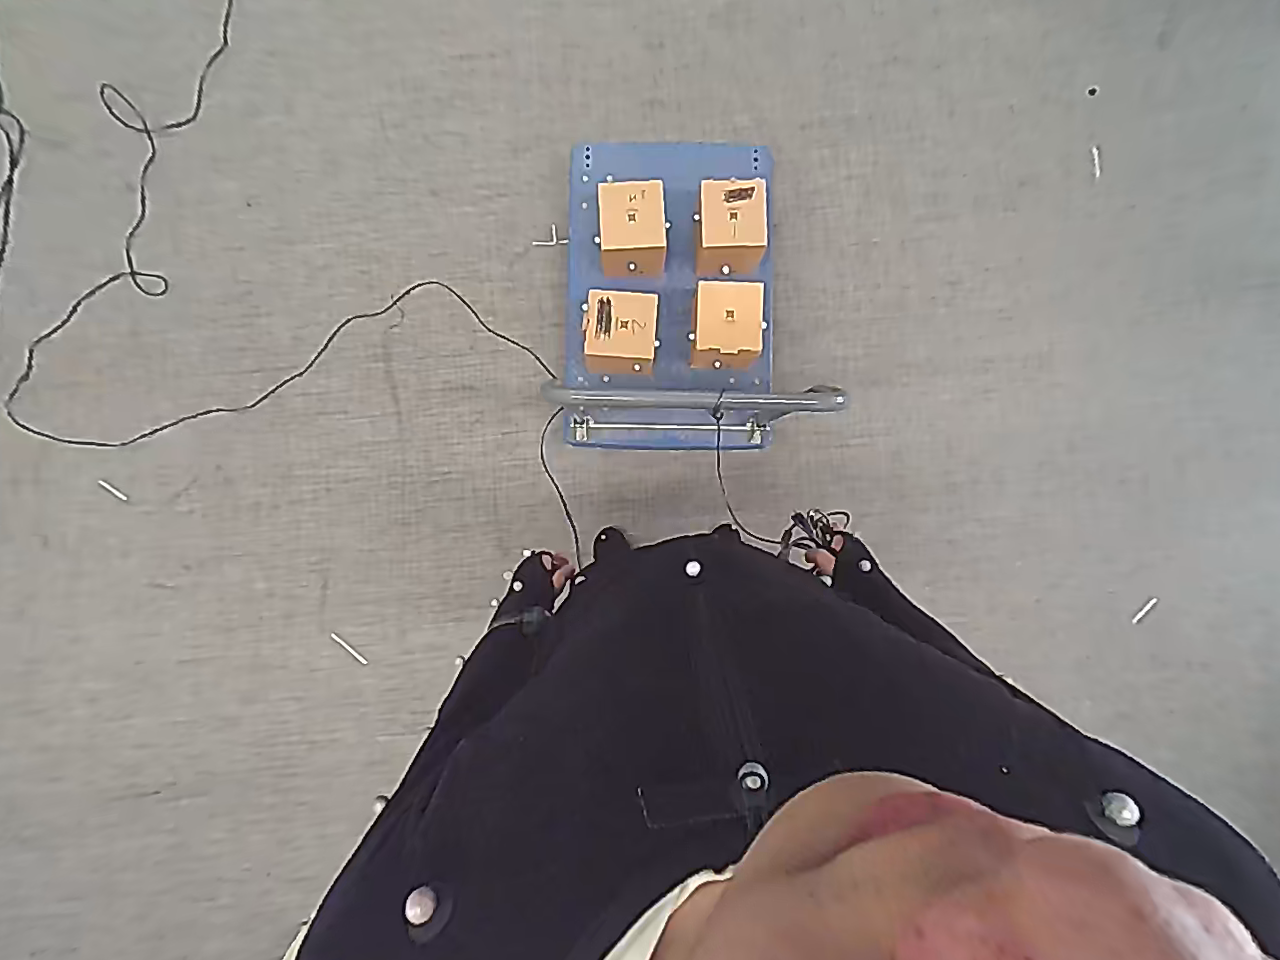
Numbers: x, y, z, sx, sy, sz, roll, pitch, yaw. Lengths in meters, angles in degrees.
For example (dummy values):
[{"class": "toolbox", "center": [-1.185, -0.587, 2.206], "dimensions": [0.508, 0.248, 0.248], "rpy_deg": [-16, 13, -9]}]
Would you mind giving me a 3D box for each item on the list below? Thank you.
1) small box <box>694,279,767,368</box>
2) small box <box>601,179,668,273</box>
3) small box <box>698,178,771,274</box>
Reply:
[{"class": "small box", "center": [0.231, -0.405, 1.417], "dimensions": [0.168, 0.176, 0.179], "rpy_deg": [2, 87, 0]}, {"class": "small box", "center": [-0.013, -0.661, 1.431], "dimensions": [0.168, 0.176, 0.179], "rpy_deg": [-3, 87, -1]}, {"class": "small box", "center": [0.244, -0.667, 1.429], "dimensions": [0.168, 0.176, 0.179], "rpy_deg": [-1, 88, 1]}]
